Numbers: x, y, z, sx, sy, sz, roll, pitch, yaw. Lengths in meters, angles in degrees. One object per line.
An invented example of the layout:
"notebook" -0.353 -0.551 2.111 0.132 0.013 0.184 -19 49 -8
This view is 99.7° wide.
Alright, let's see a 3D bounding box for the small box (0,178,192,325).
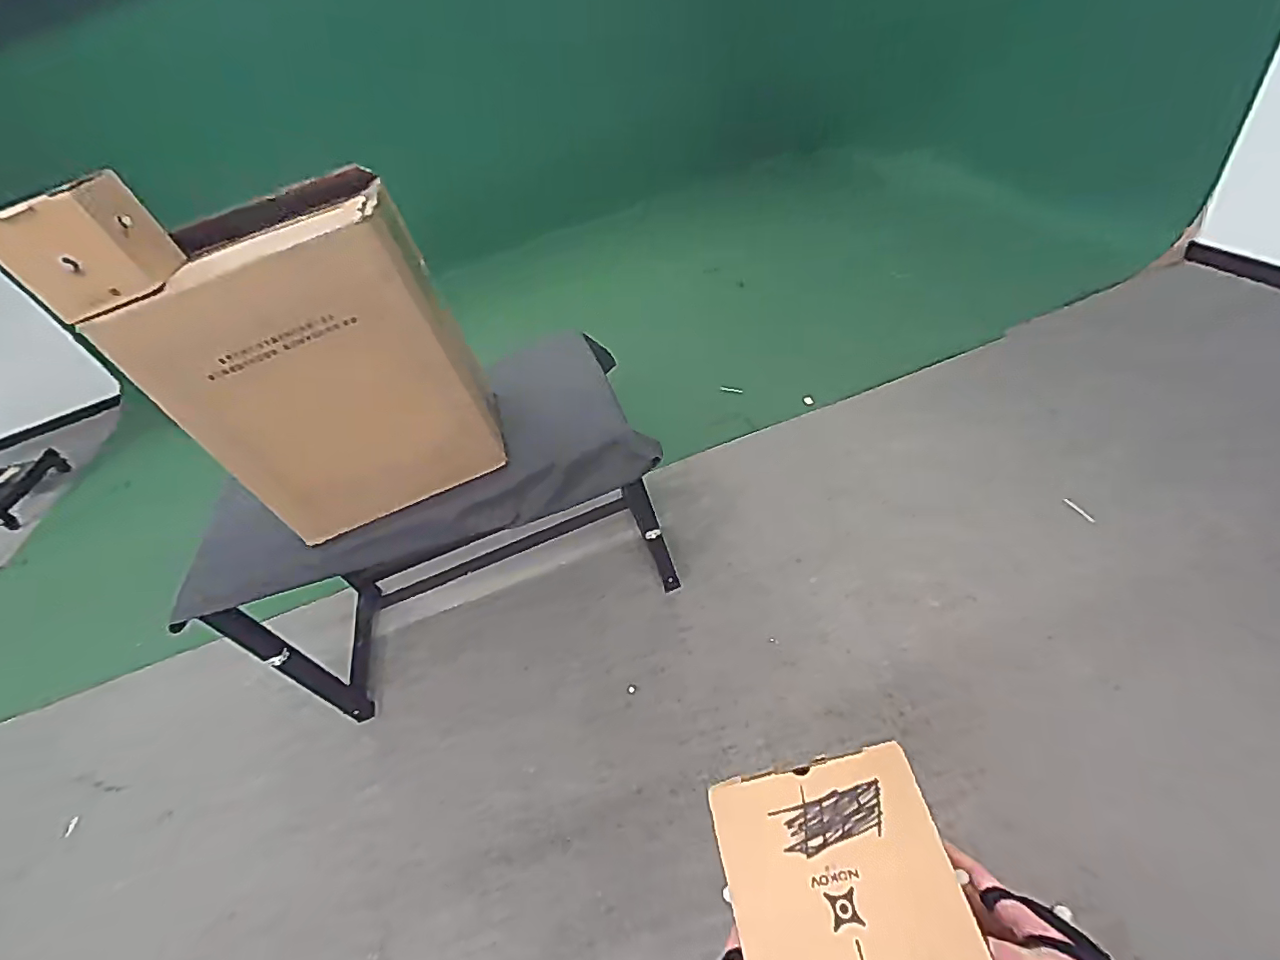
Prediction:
"small box" -0.951 -0.398 0.955 0.168 0.176 0.179 -24 43 -2
